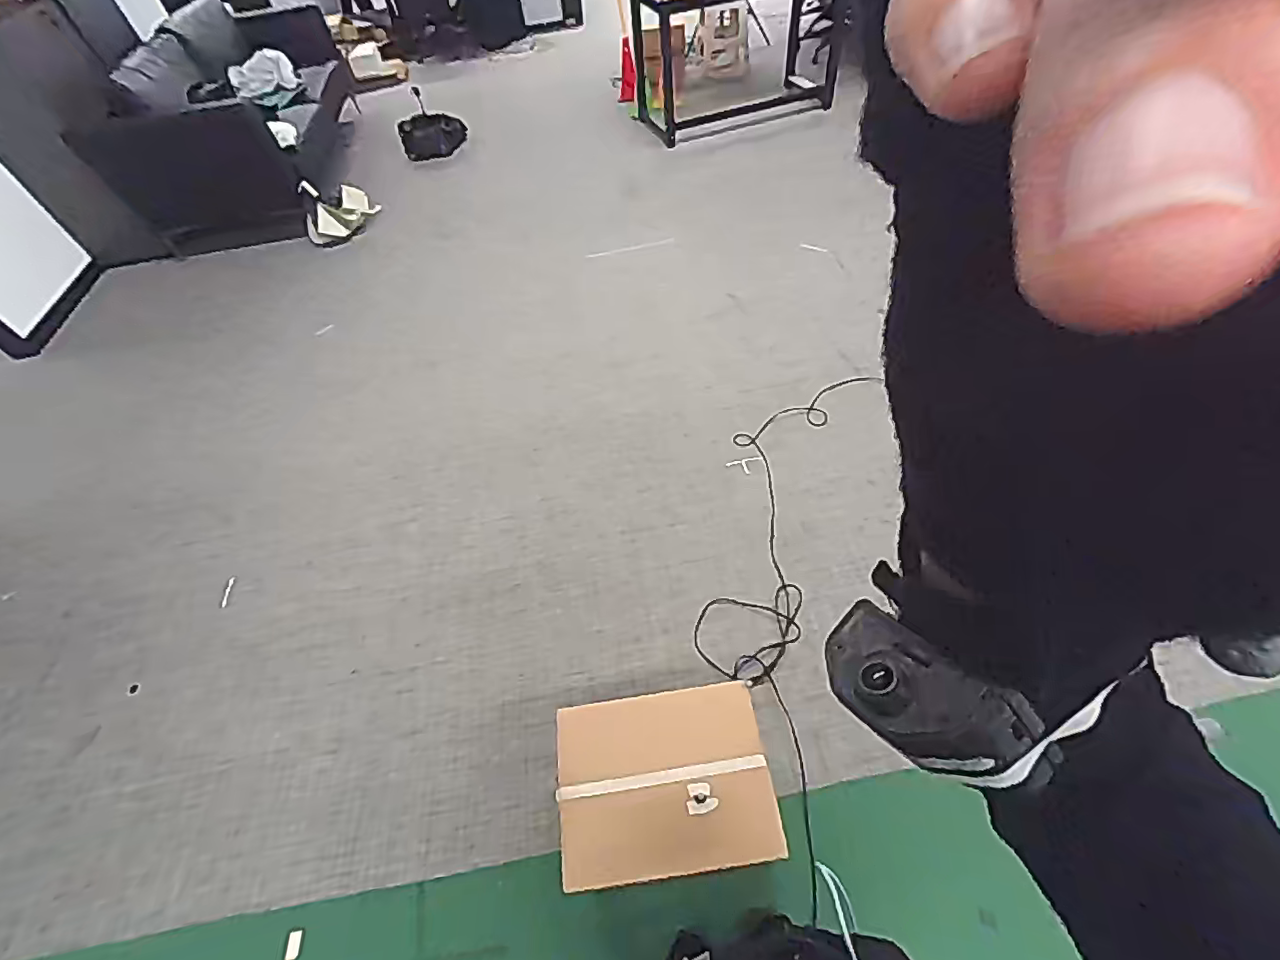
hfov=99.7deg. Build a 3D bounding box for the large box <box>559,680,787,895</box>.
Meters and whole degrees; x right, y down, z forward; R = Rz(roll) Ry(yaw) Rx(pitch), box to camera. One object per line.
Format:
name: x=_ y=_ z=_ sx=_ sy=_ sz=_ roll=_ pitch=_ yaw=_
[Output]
large box: x=0.057 y=0.665 z=1.160 sx=0.408 sy=0.320 sz=0.320 roll=-9 pitch=53 yaw=-1
